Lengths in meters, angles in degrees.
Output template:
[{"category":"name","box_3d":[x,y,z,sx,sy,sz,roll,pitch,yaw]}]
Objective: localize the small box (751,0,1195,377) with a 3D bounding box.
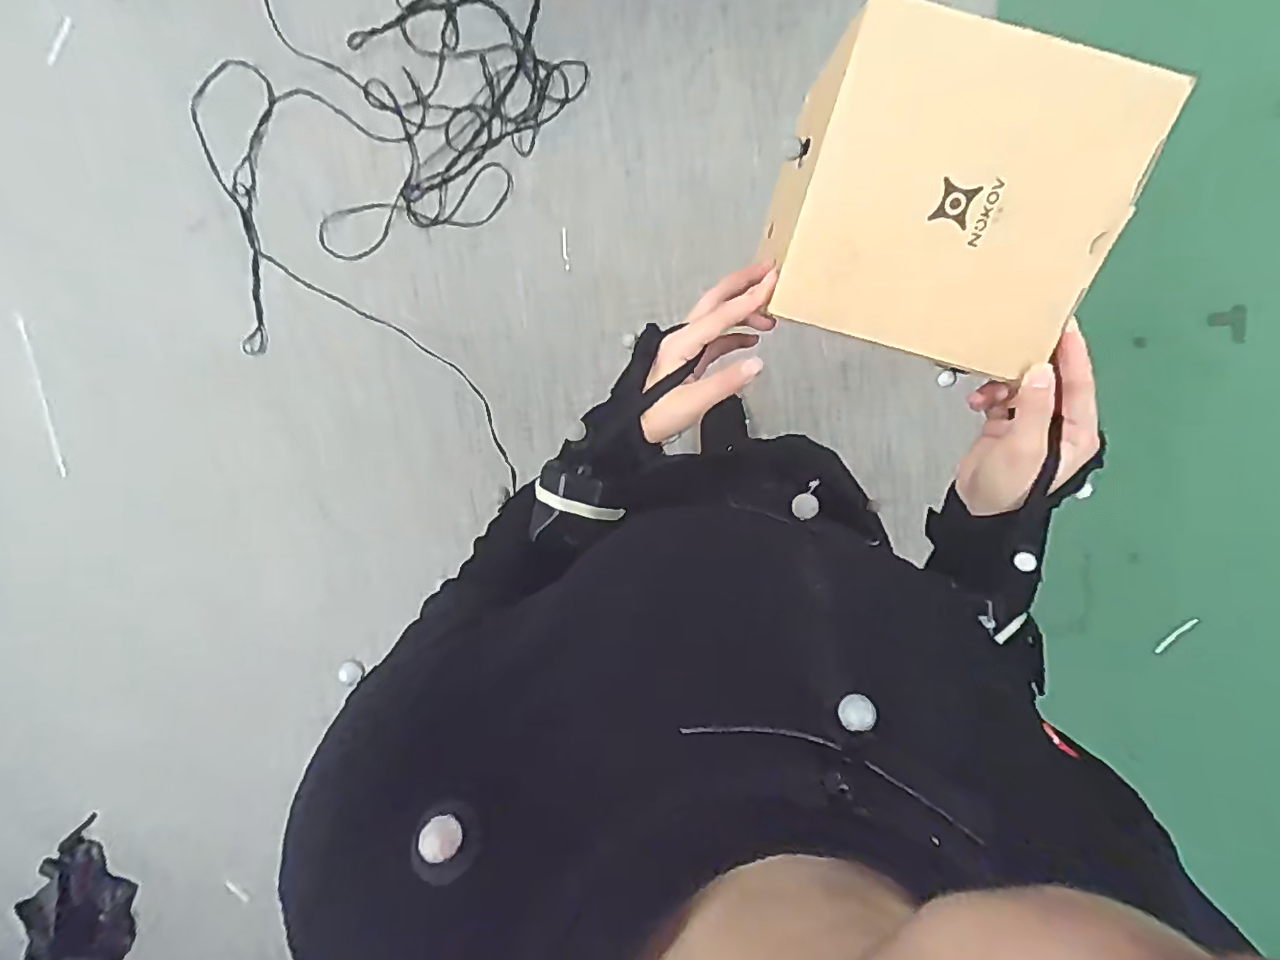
[{"category":"small box","box_3d":[0.189,-0.183,0.378,0.179,0.176,0.168,15,110,-1]}]
